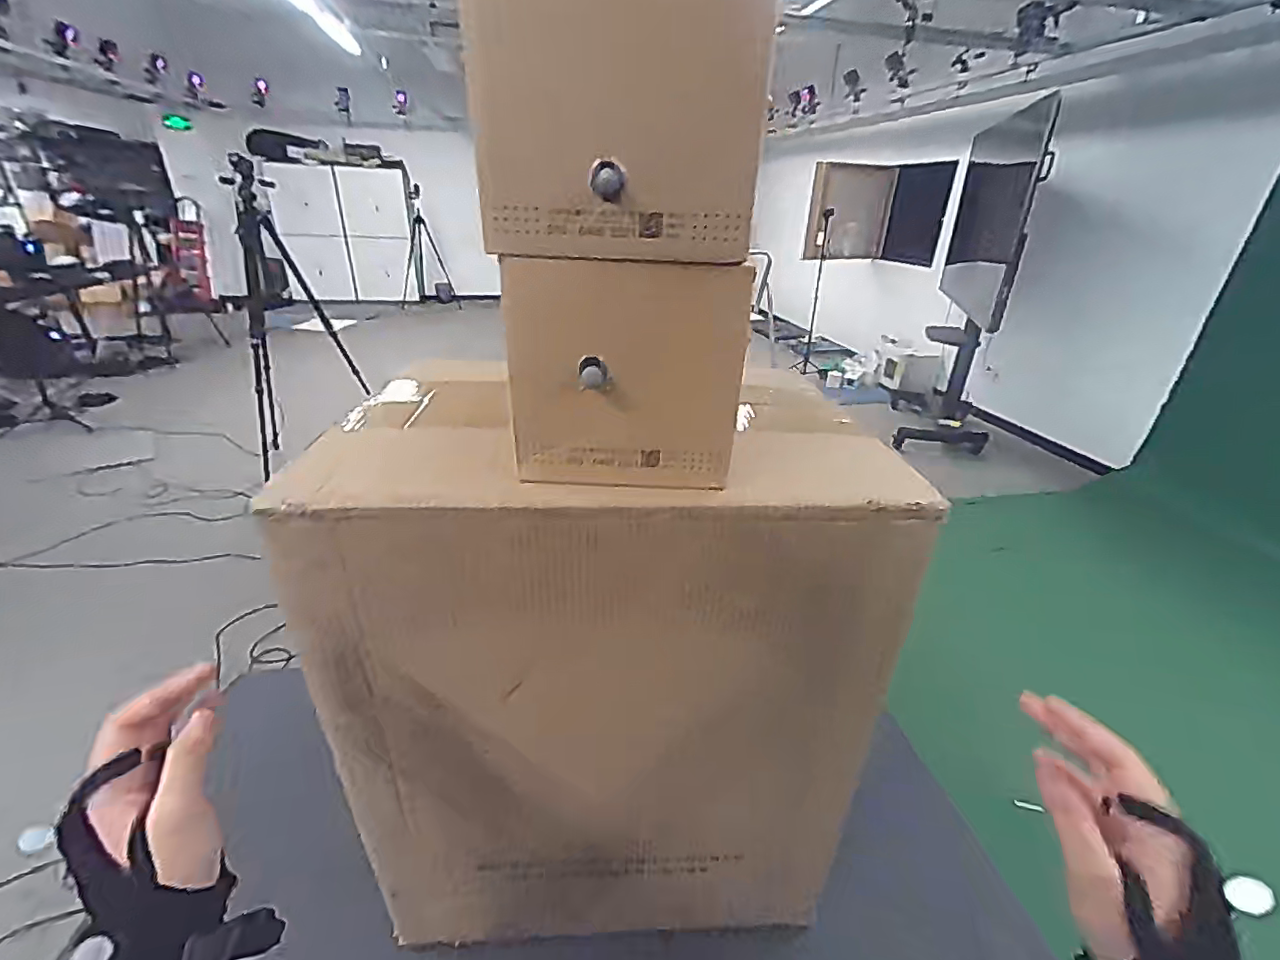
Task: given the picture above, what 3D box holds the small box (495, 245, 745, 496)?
[{"bbox_3d":[-0.012,-0.097,0.456,0.168,0.176,0.179,2,29,0],"label":"small box"}]
